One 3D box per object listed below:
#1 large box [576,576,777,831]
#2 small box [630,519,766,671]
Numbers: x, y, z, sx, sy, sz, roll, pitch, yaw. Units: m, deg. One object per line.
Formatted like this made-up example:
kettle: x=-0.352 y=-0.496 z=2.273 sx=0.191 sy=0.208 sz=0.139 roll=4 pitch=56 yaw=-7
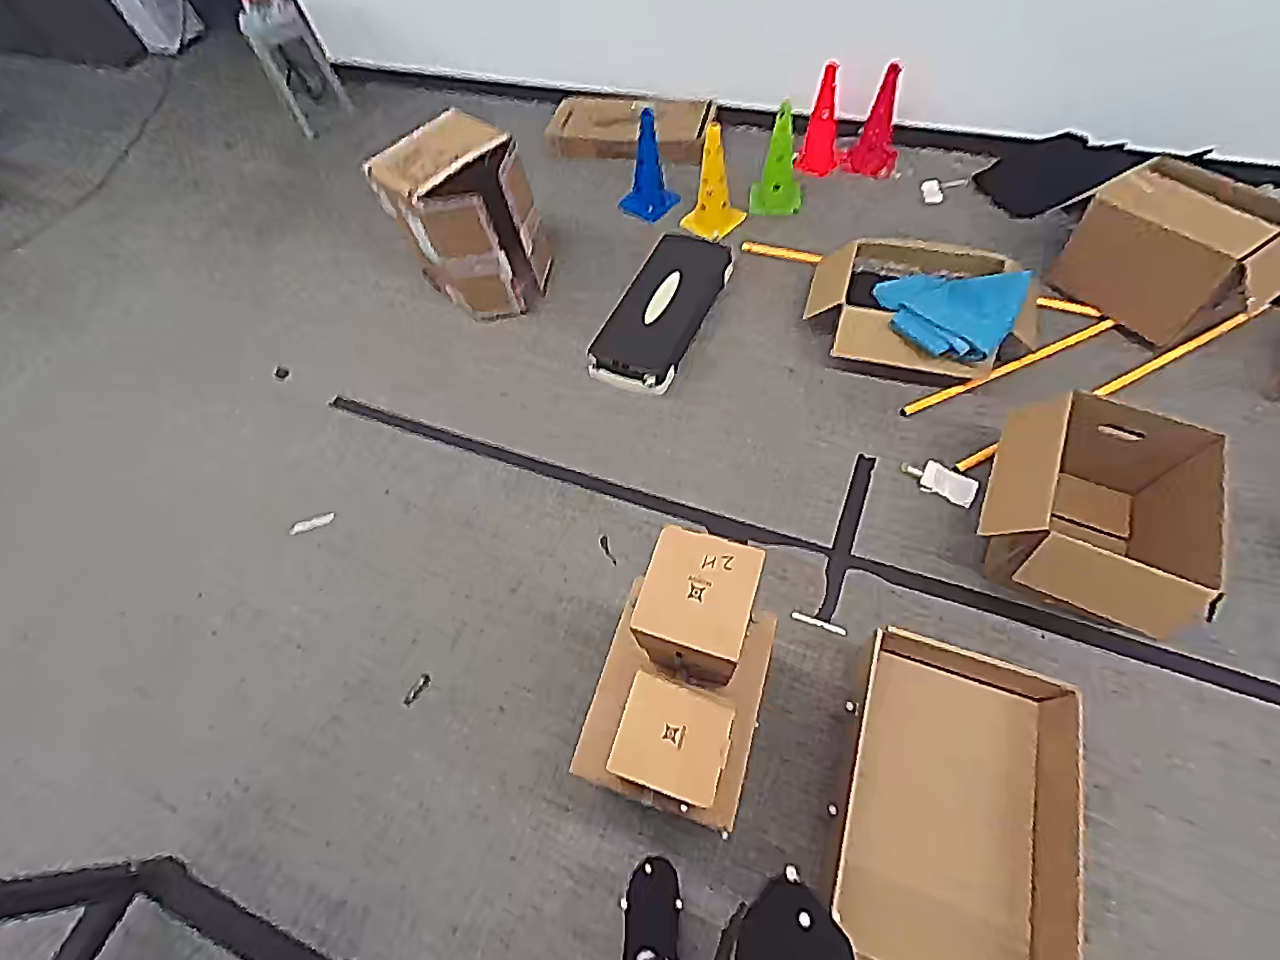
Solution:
large box: x=0.095 y=0.475 z=1.186 sx=0.320 sy=0.320 sz=0.408 roll=13 pitch=65 yaw=14
small box: x=0.097 y=0.192 z=0.872 sx=0.168 sy=0.176 sz=0.179 roll=15 pitch=65 yaw=13
